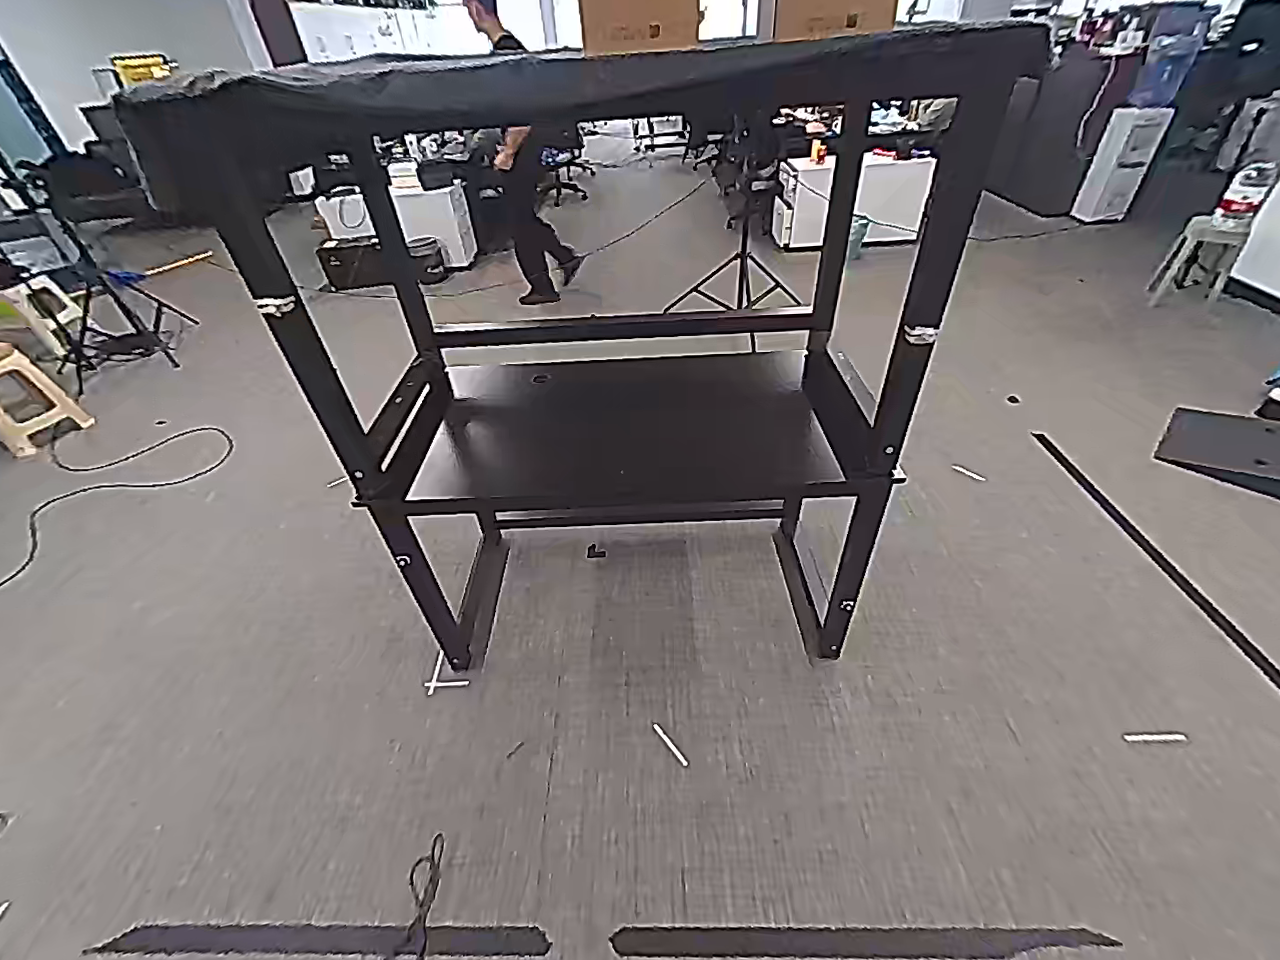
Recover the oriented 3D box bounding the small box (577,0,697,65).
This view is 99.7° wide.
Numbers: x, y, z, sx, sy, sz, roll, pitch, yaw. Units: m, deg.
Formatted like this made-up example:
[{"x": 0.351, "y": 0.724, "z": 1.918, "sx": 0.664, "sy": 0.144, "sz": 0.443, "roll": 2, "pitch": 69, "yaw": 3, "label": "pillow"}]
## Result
[{"x": -0.001, "y": -0.714, "z": 0.782, "sx": 0.168, "sy": 0.176, "sz": 0.179, "roll": -1, "pitch": 39, "yaw": 4, "label": "small box"}]
